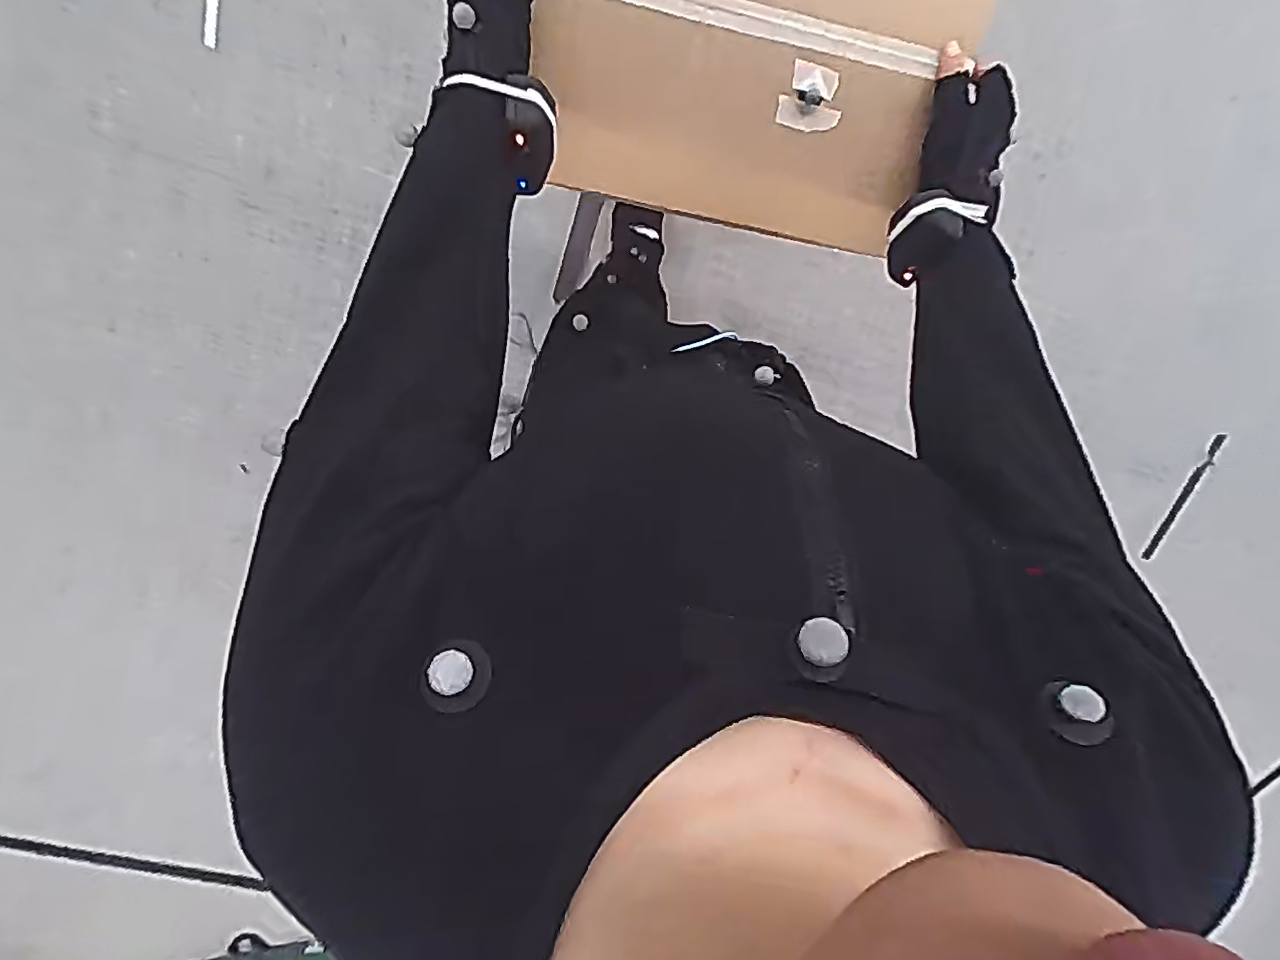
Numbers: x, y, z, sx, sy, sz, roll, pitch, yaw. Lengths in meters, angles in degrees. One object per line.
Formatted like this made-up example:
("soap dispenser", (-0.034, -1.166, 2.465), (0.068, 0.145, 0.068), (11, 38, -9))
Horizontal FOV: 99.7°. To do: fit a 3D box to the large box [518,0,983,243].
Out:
("large box", (0.093, -0.479, 0.614), (0.408, 0.320, 0.320), (9, 117, -7))
